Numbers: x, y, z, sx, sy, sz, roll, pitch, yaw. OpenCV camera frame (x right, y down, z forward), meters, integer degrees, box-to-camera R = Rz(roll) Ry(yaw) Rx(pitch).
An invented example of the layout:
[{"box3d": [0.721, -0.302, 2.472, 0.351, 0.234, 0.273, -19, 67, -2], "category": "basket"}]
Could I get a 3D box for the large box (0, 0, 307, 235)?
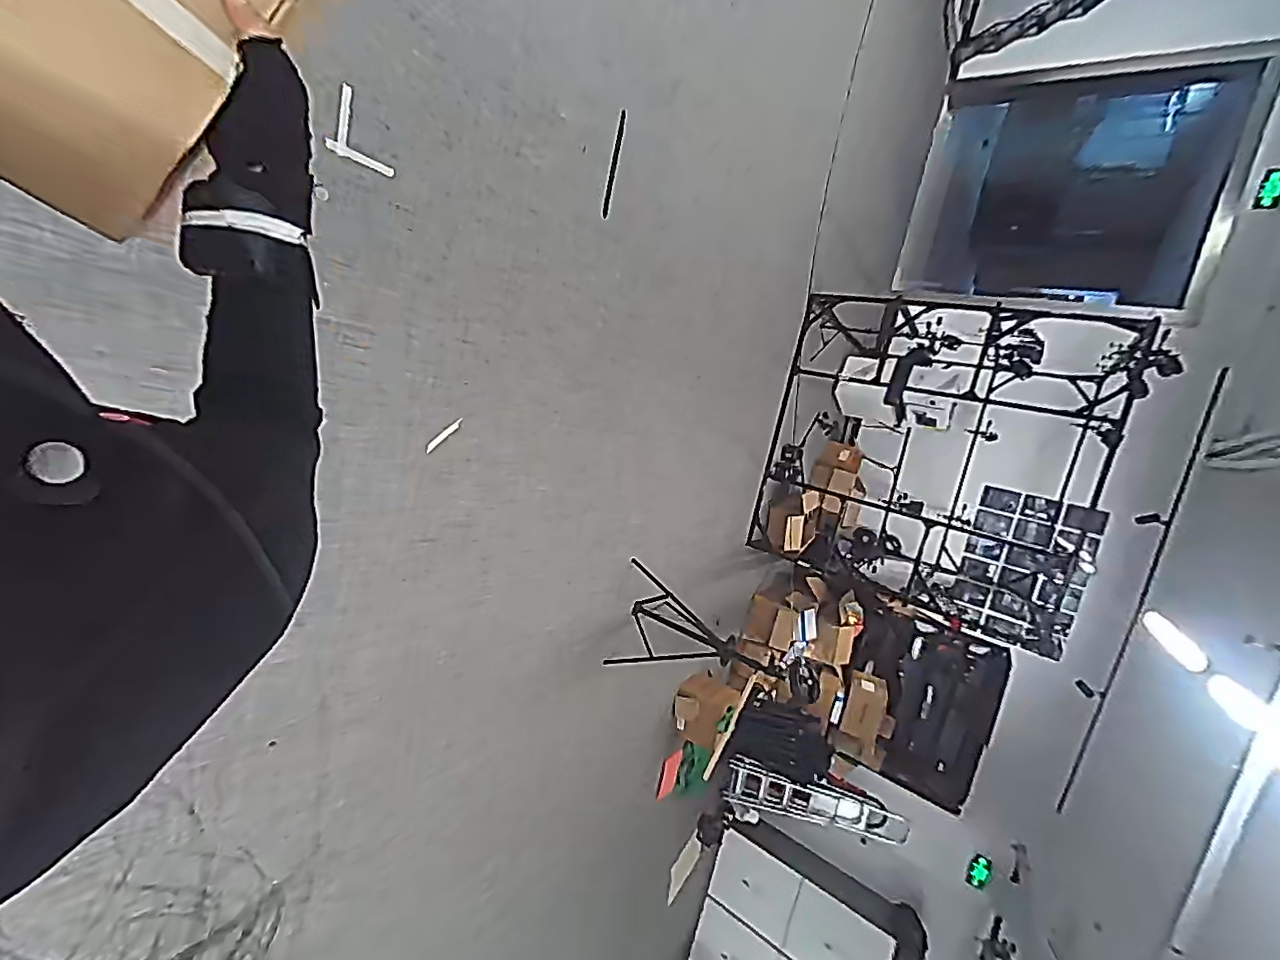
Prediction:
[{"box3d": [-0.509, -0.448, 0.384, 0.408, 0.320, 0.320, 34, 92, -44], "category": "large box"}]
